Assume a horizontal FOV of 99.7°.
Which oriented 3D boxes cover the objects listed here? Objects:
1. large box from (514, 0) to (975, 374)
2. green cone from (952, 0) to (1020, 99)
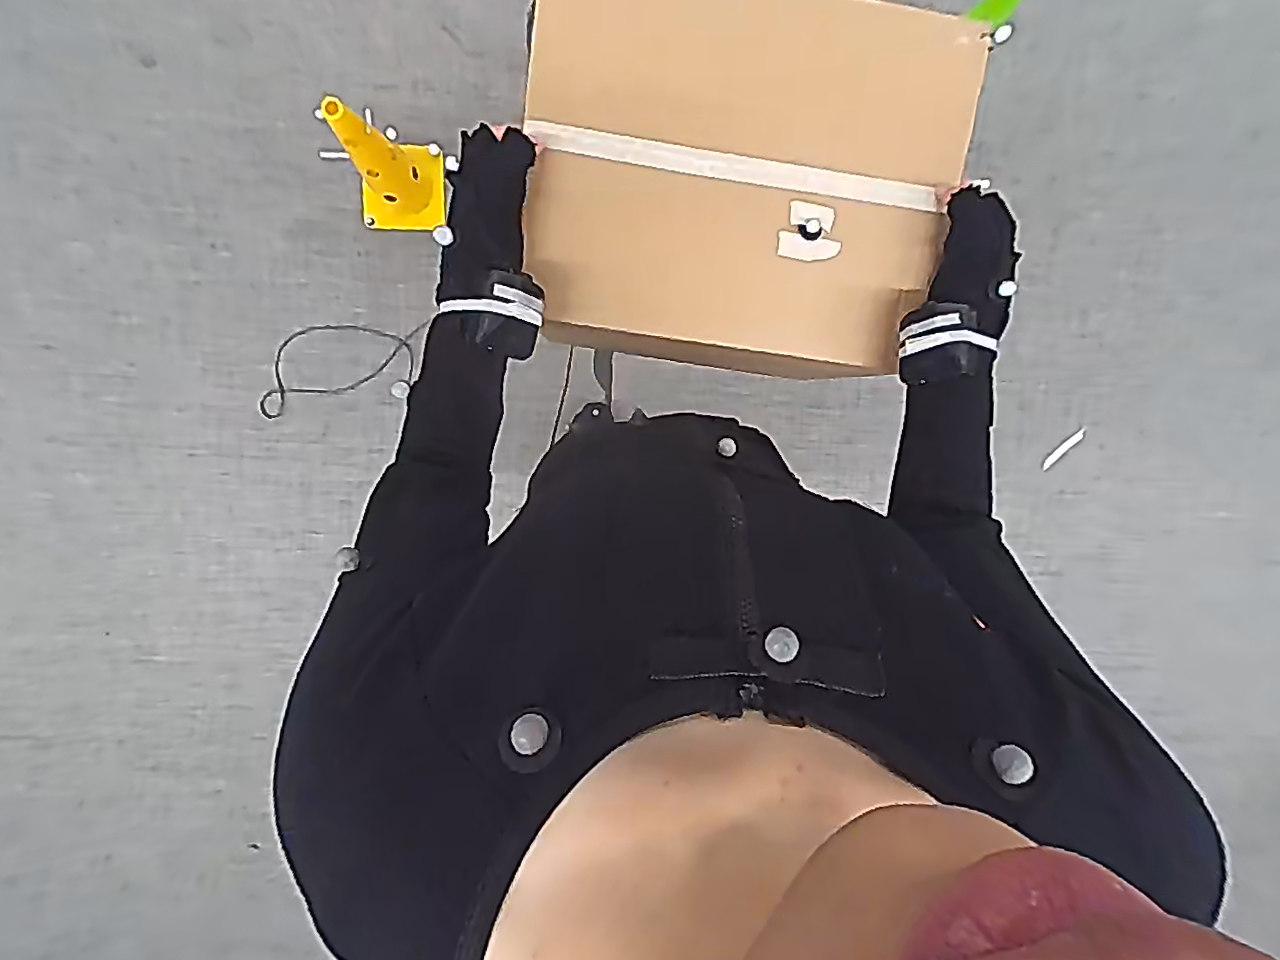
[{"bbox_3d":[0.083,-0.310,0.646,0.408,0.320,0.320,7,99,-5],"label":"large box"},{"bbox_3d":[0.740,-1.003,1.211,0.202,0.368,0.200,-36,98,0],"label":"green cone"}]
